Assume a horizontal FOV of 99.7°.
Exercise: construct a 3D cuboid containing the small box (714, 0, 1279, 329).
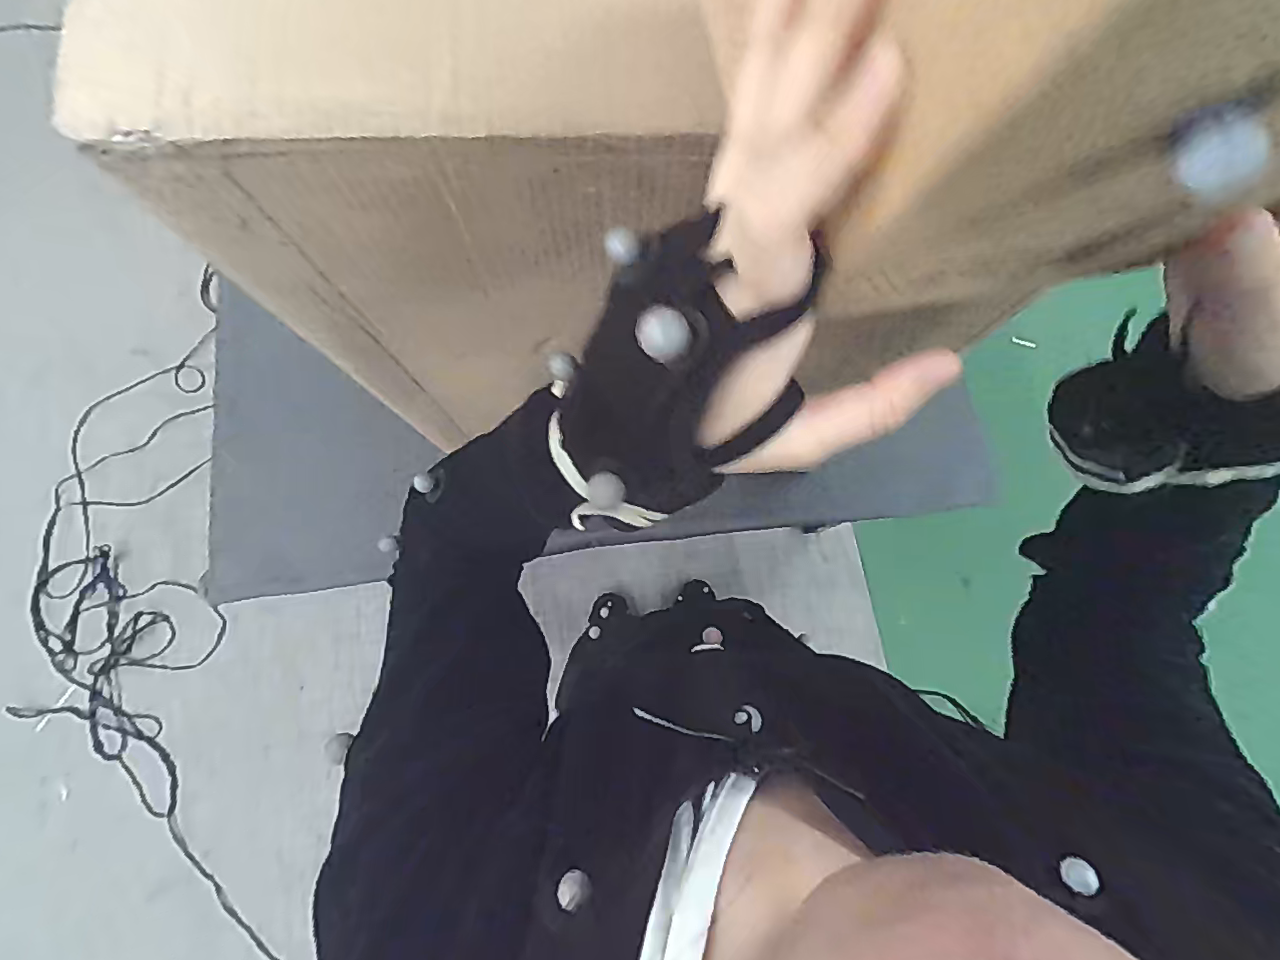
[{"bbox_3d":[0.129,-0.154,0.146,0.168,0.176,0.179,-11,86,-8],"label":"small box"}]
